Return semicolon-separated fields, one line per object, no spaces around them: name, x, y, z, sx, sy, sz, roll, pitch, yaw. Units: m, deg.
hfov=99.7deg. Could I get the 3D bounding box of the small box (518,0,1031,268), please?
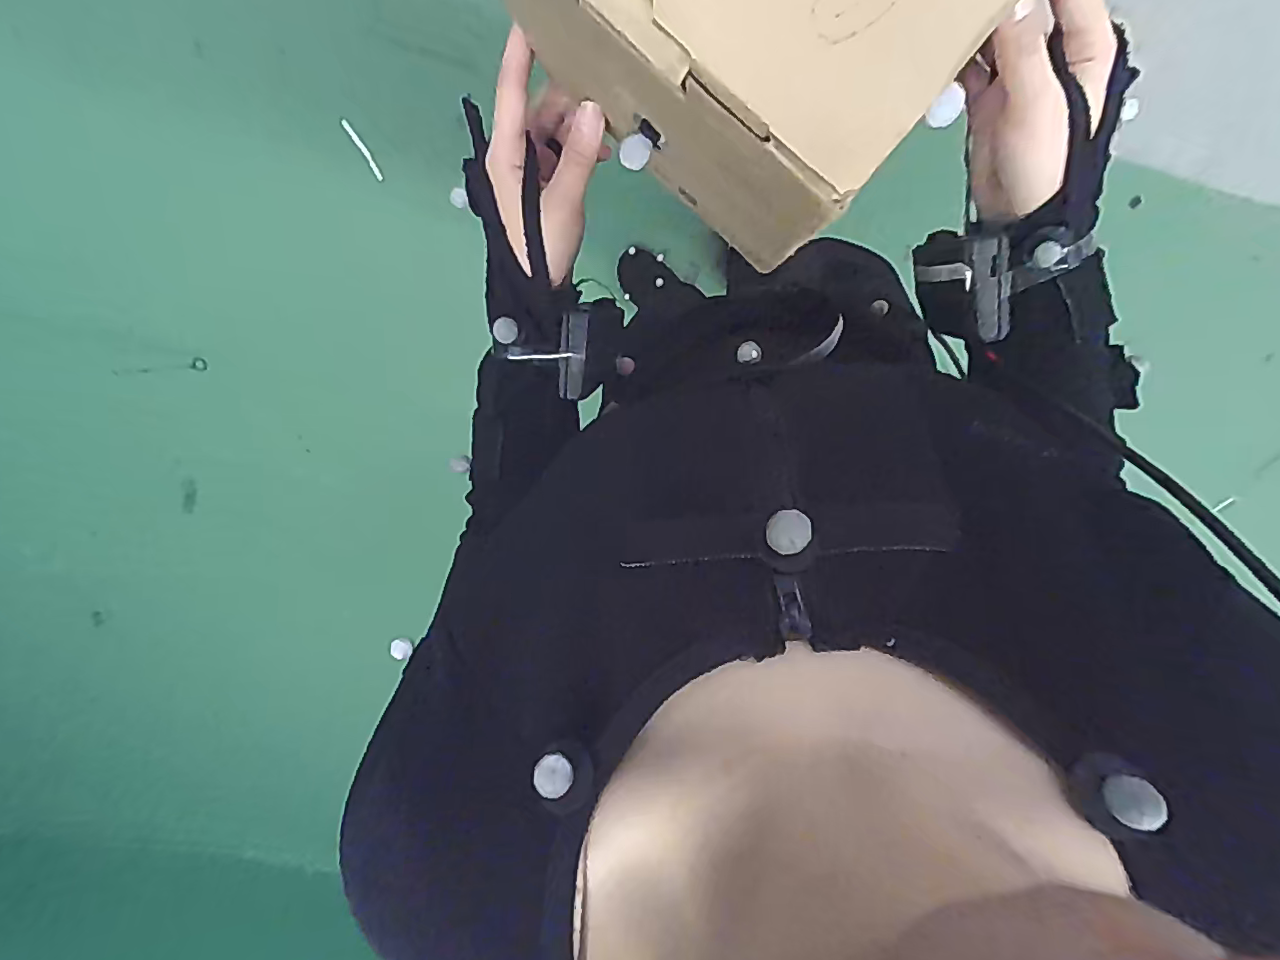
small box;0.061;-0.209;0.211;0.168;0.176;0.179;40;105;-5
